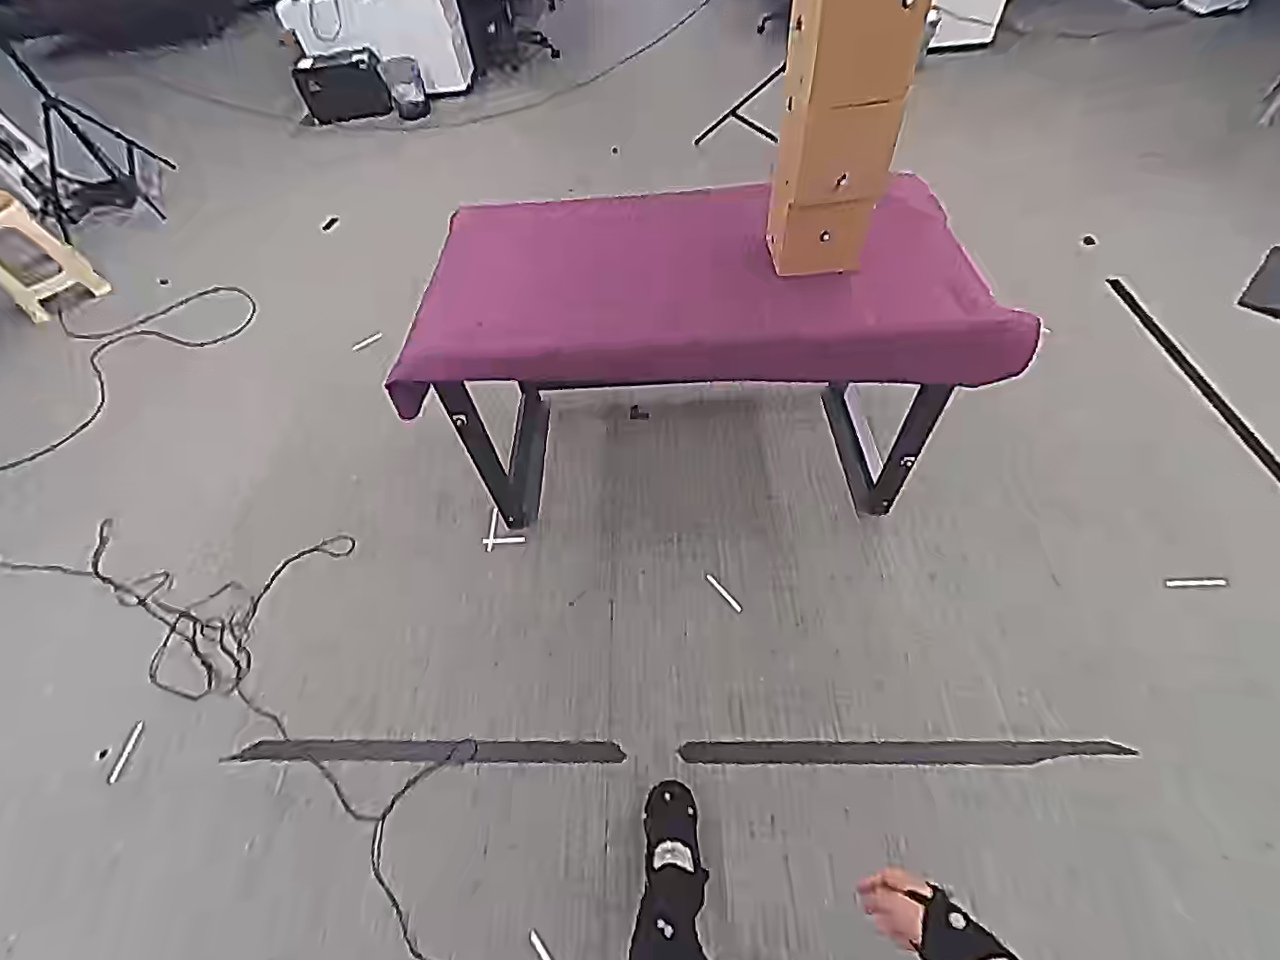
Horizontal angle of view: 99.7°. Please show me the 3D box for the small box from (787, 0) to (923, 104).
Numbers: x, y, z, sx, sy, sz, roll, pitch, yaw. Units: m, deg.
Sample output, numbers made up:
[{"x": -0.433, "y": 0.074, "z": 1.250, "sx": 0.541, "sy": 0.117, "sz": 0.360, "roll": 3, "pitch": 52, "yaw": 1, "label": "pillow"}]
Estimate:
[{"x": 0.352, "y": -0.757, "z": 0.907, "sx": 0.179, "sy": 0.176, "sz": 0.168, "roll": -6, "pitch": 54, "yaw": 1, "label": "small box"}]

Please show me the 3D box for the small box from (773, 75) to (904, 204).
[{"x": 0.366, "y": -0.655, "z": 1.033, "sx": 0.179, "sy": 0.176, "sz": 0.168, "roll": -7, "pitch": 53, "yaw": 1, "label": "small box"}]
